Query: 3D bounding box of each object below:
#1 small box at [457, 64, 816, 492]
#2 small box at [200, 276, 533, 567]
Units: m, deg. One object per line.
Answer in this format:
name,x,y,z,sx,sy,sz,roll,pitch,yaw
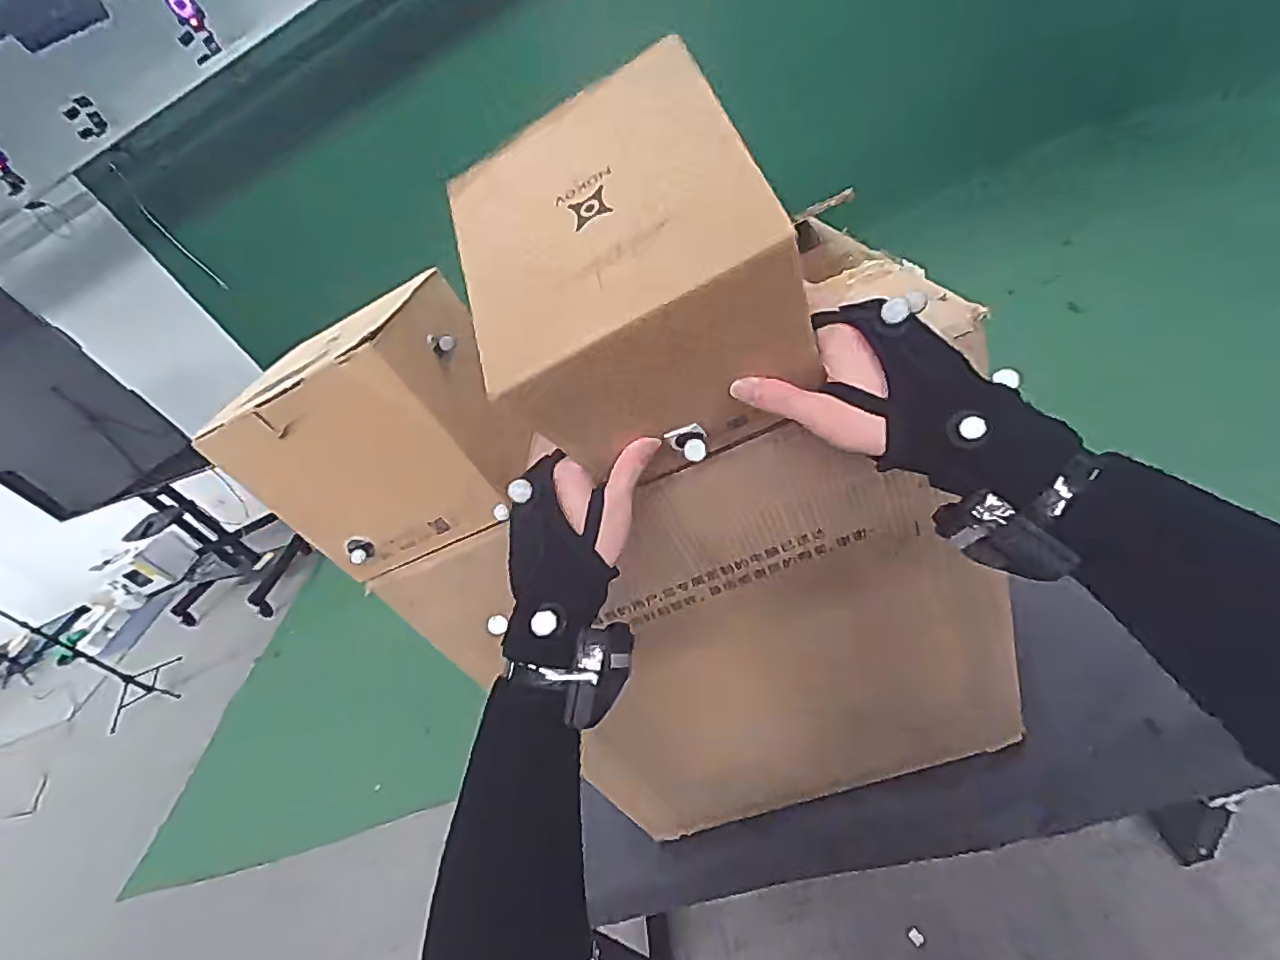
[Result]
small box,0.003,-0.118,0.371,0.168,0.176,0.179,-26,61,14
small box,-0.213,-0.045,0.481,0.168,0.176,0.179,-23,34,13
